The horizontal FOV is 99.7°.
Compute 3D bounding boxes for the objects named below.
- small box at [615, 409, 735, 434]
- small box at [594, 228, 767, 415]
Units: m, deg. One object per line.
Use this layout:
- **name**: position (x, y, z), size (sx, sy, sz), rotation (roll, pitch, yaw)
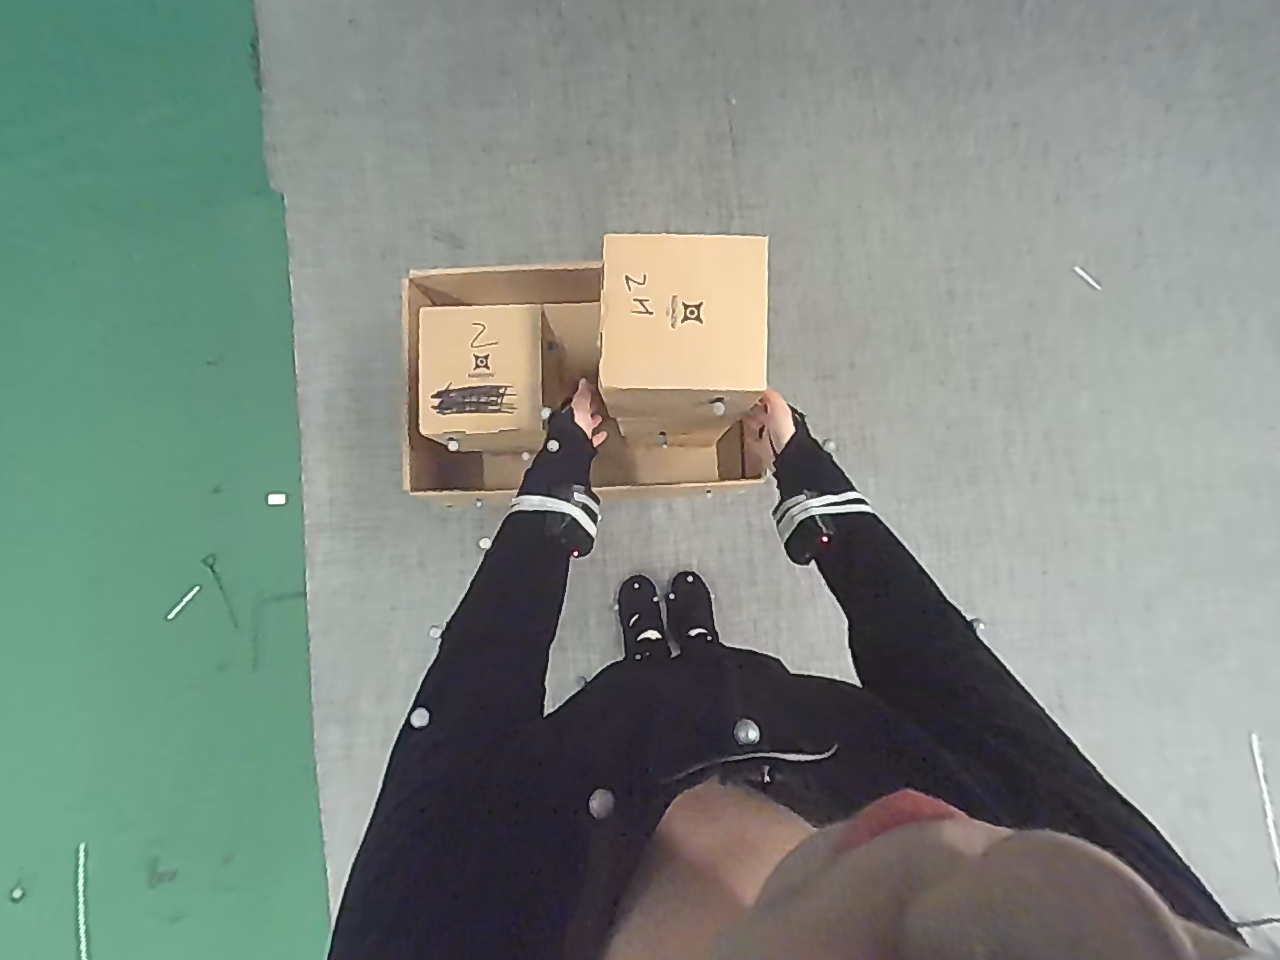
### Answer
- **small box**: position (0.048, -0.168, 0.803), size (0.168, 0.176, 0.179), rotation (0, 87, 2)
- **small box**: position (0.044, -0.174, 0.638), size (0.179, 0.176, 0.168), rotation (2, 86, 2)
